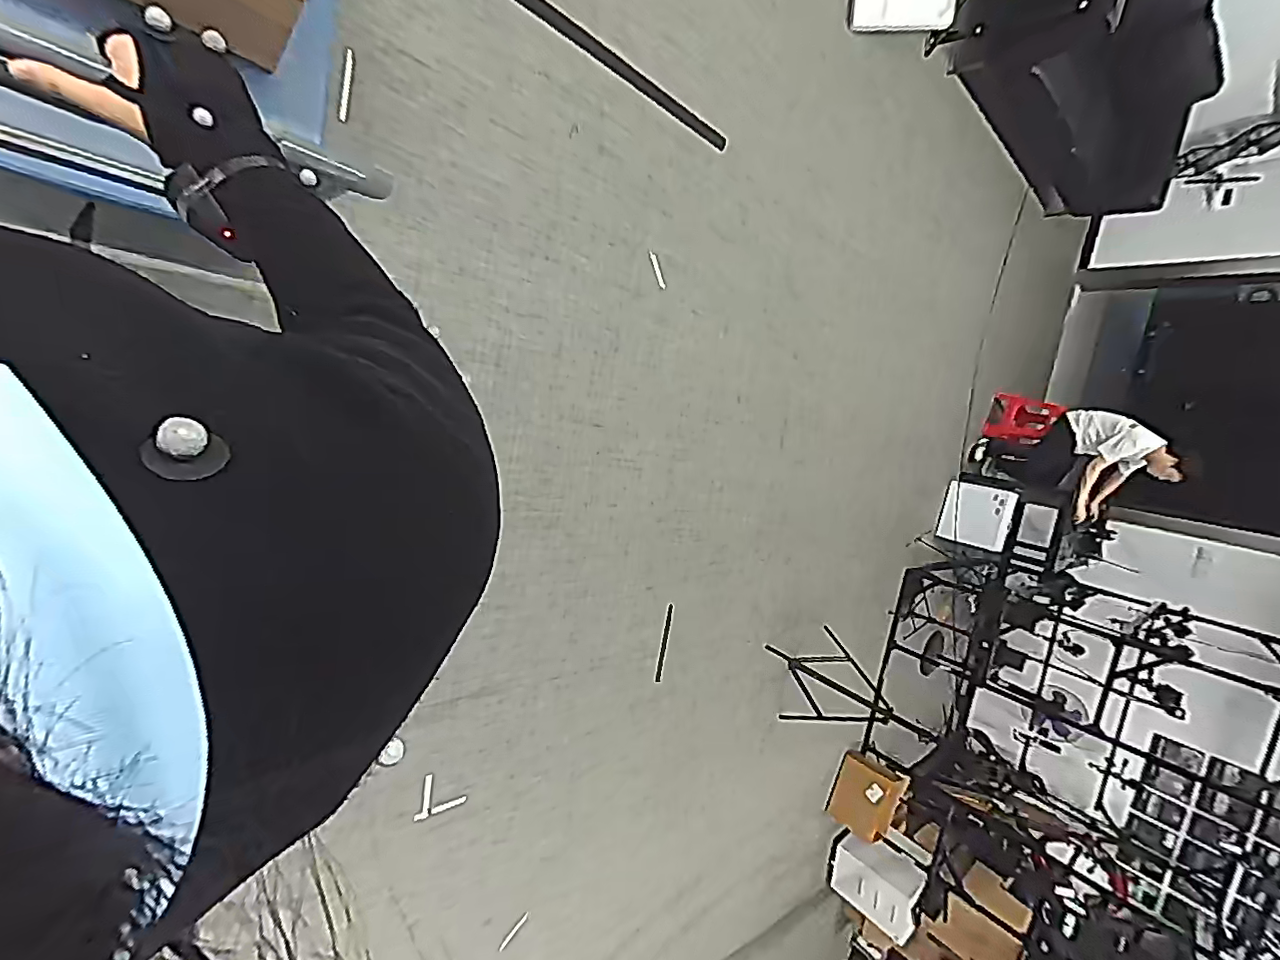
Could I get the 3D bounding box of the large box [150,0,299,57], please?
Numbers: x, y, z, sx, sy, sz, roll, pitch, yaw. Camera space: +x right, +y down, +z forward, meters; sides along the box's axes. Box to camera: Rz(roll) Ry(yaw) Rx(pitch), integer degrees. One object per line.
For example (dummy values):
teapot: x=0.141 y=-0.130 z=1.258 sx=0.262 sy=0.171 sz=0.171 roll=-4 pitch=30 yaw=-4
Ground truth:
large box: x=-0.692 y=-0.894 z=0.731 sx=0.408 sy=0.320 sz=0.320 roll=7 pitch=97 yaw=-42
